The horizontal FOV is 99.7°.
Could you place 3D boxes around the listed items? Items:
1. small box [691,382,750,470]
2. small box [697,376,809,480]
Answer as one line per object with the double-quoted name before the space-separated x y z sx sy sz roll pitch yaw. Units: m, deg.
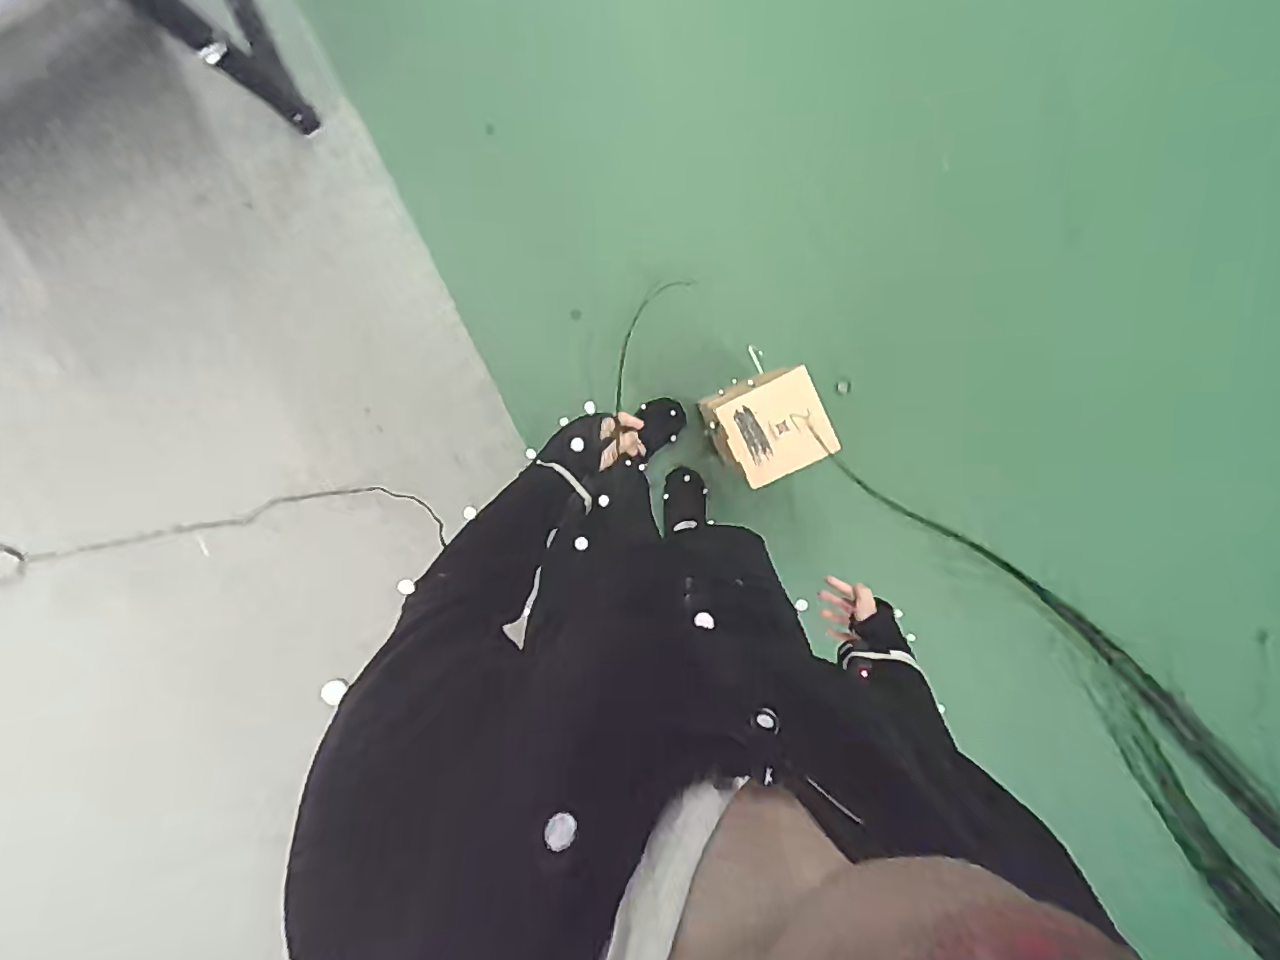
"small box" 0.240 -0.141 1.351 0.179 0.176 0.168 -24 96 4
"small box" 0.240 -0.118 1.190 0.179 0.176 0.168 -25 97 4
